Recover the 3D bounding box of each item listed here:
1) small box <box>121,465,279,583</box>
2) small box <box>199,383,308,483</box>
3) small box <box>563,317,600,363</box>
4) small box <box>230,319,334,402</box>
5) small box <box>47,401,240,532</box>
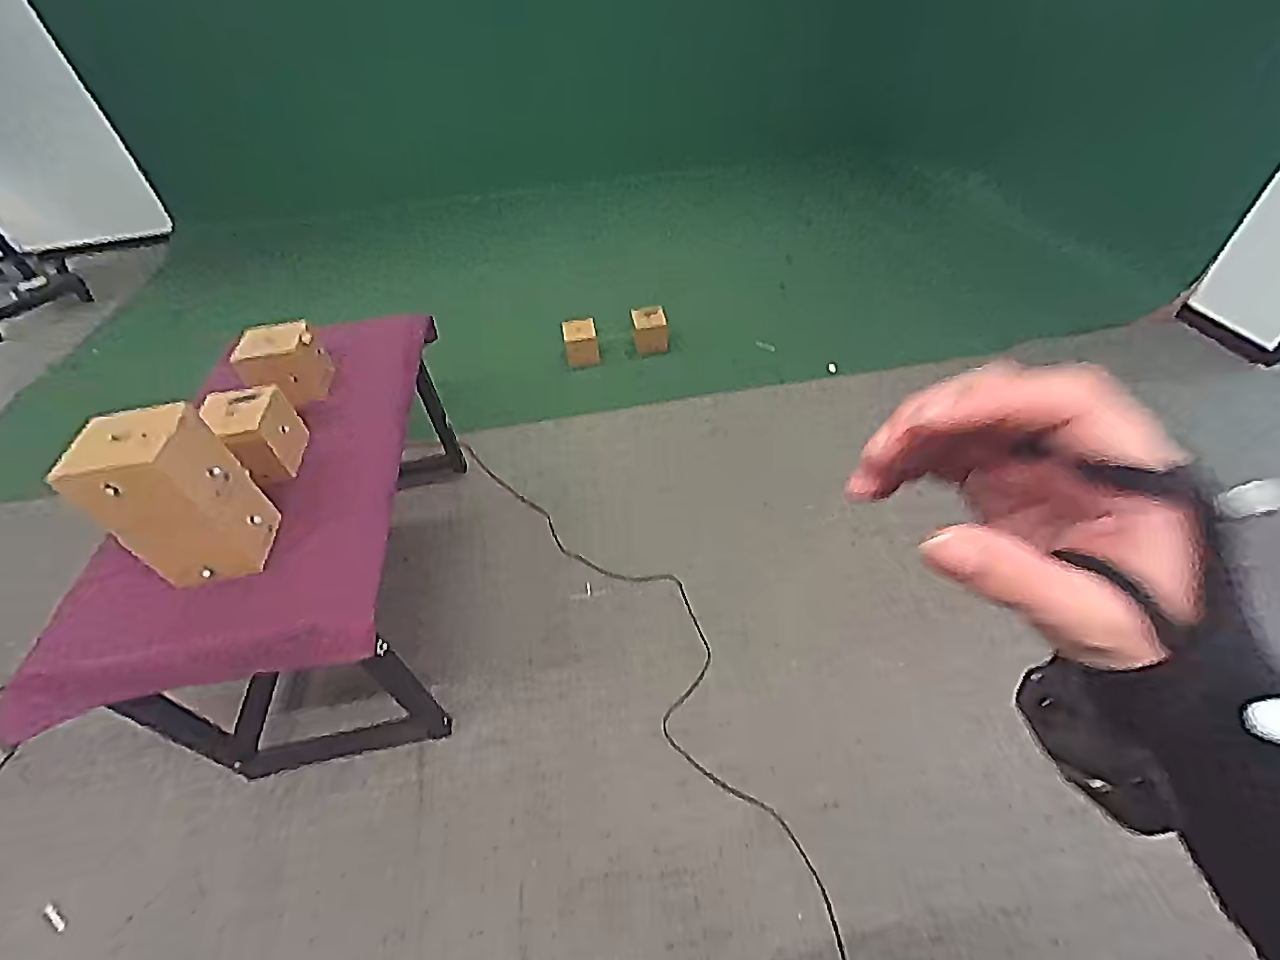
[{"bbox_3d":[-0.906,0.093,1.138,0.179,0.176,0.168,-11,46,-5],"label":"small box"},{"bbox_3d":[-0.958,-0.112,1.338,0.168,0.176,0.179,-11,48,-5],"label":"small box"},{"bbox_3d":[-0.310,-0.737,2.864,0.168,0.176,0.179,-10,46,-4],"label":"small box"},{"bbox_3d":[-1.017,-0.338,1.558,0.179,0.176,0.168,-10,46,-4],"label":"small box"},{"bbox_3d":[-0.916,-0.022,1.021,0.179,0.176,0.168,-11,47,-5],"label":"small box"}]
